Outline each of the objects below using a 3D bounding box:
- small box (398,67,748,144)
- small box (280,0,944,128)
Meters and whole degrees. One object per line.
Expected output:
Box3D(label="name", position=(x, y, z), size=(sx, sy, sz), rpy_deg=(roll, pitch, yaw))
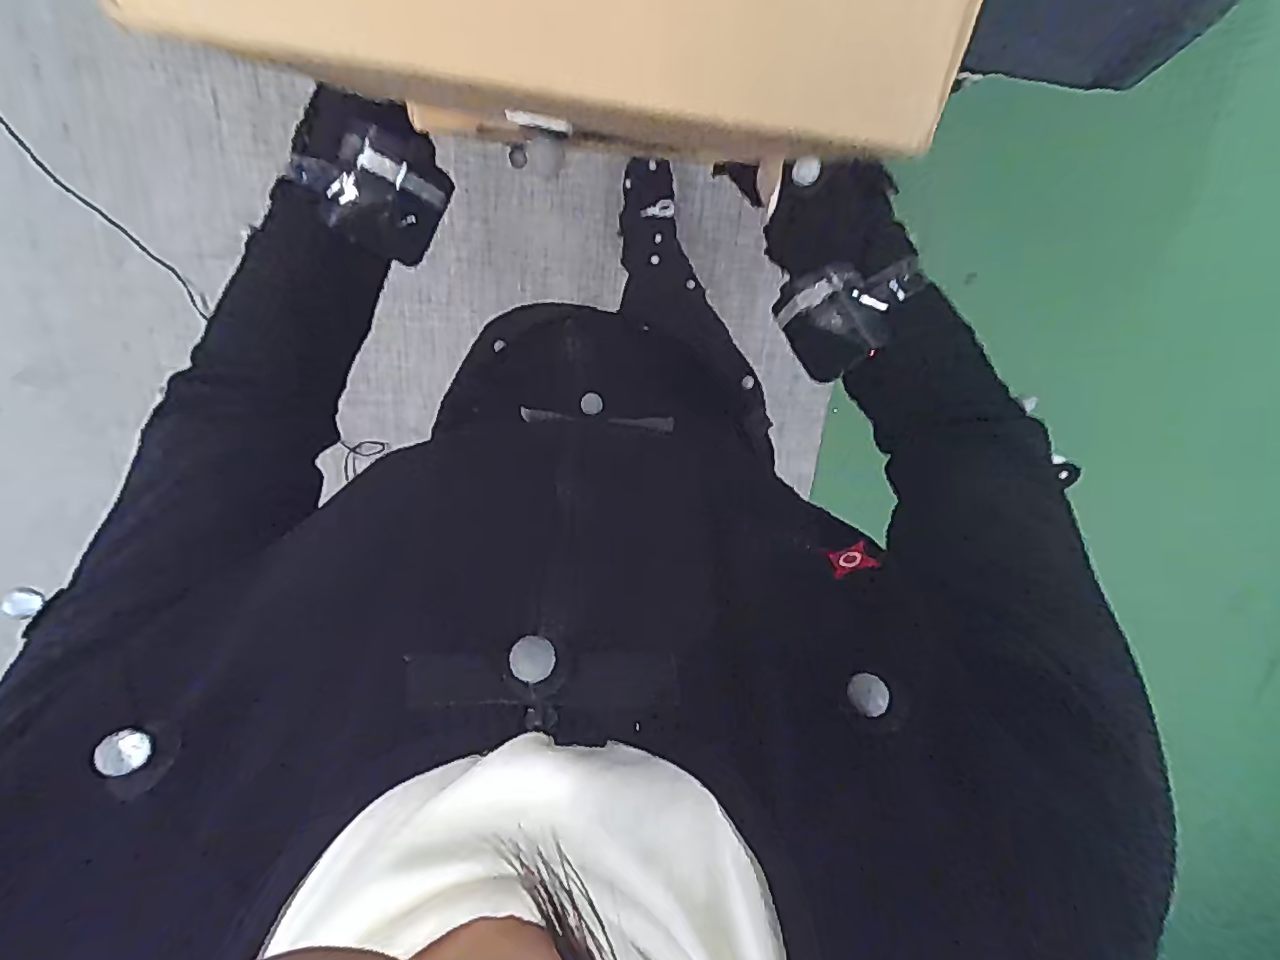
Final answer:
Box3D(label="small box", position=(-0.024, -0.283, 0.277), size=(0.168, 0.176, 0.179), rpy_deg=(2, 118, -5))
Box3D(label="small box", position=(-0.014, -0.206, 0.135), size=(0.168, 0.176, 0.179), rpy_deg=(4, 120, -5))
